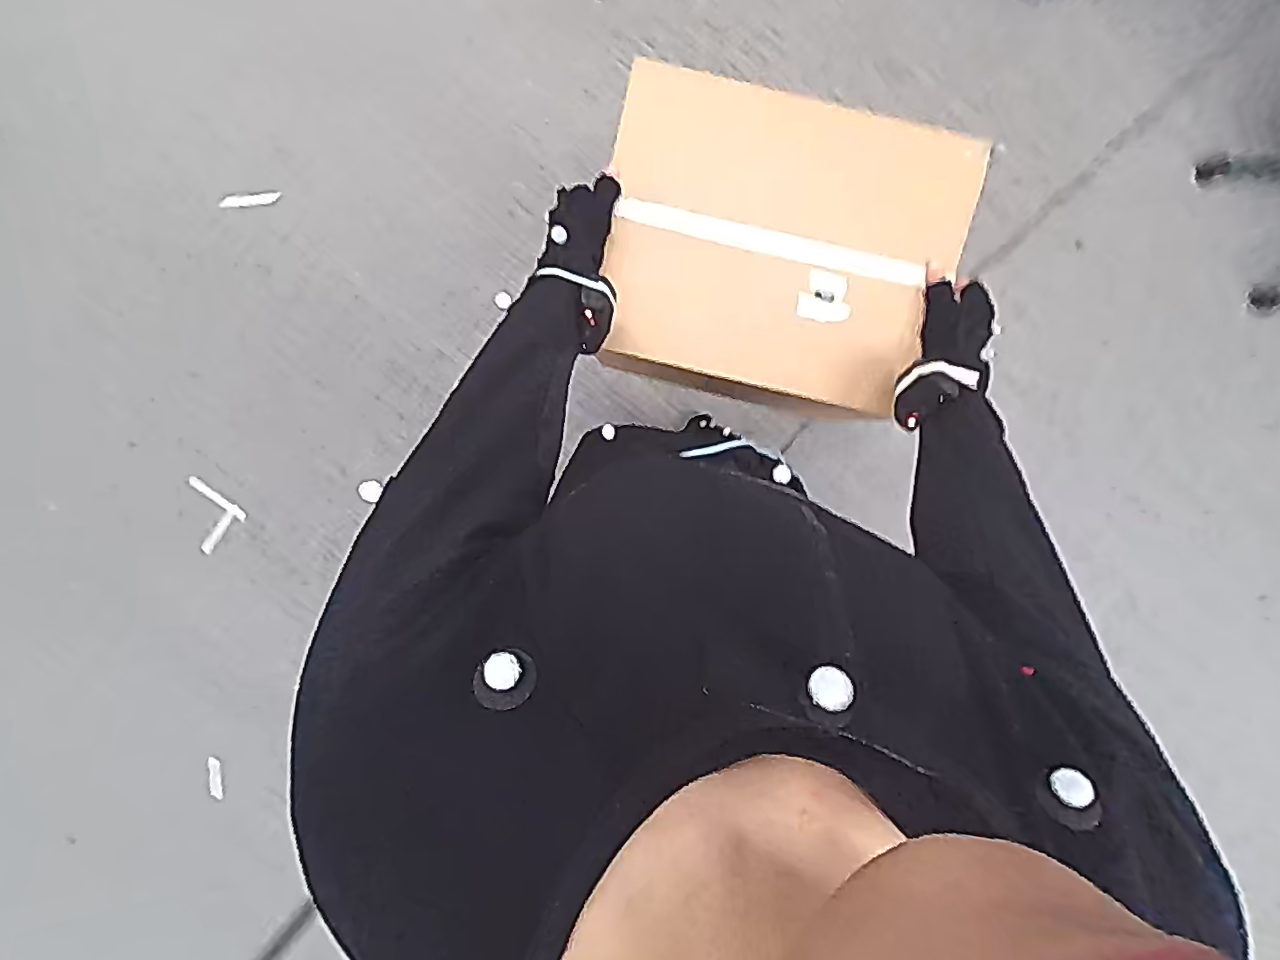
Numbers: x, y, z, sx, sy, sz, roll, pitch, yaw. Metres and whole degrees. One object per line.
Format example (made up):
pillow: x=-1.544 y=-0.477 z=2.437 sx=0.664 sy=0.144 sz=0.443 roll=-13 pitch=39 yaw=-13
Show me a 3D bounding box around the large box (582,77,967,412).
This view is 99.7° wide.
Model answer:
large box: x=0.152 y=-0.289 z=0.780 sx=0.408 sy=0.320 sz=0.320 roll=12 pitch=97 yaw=-1
